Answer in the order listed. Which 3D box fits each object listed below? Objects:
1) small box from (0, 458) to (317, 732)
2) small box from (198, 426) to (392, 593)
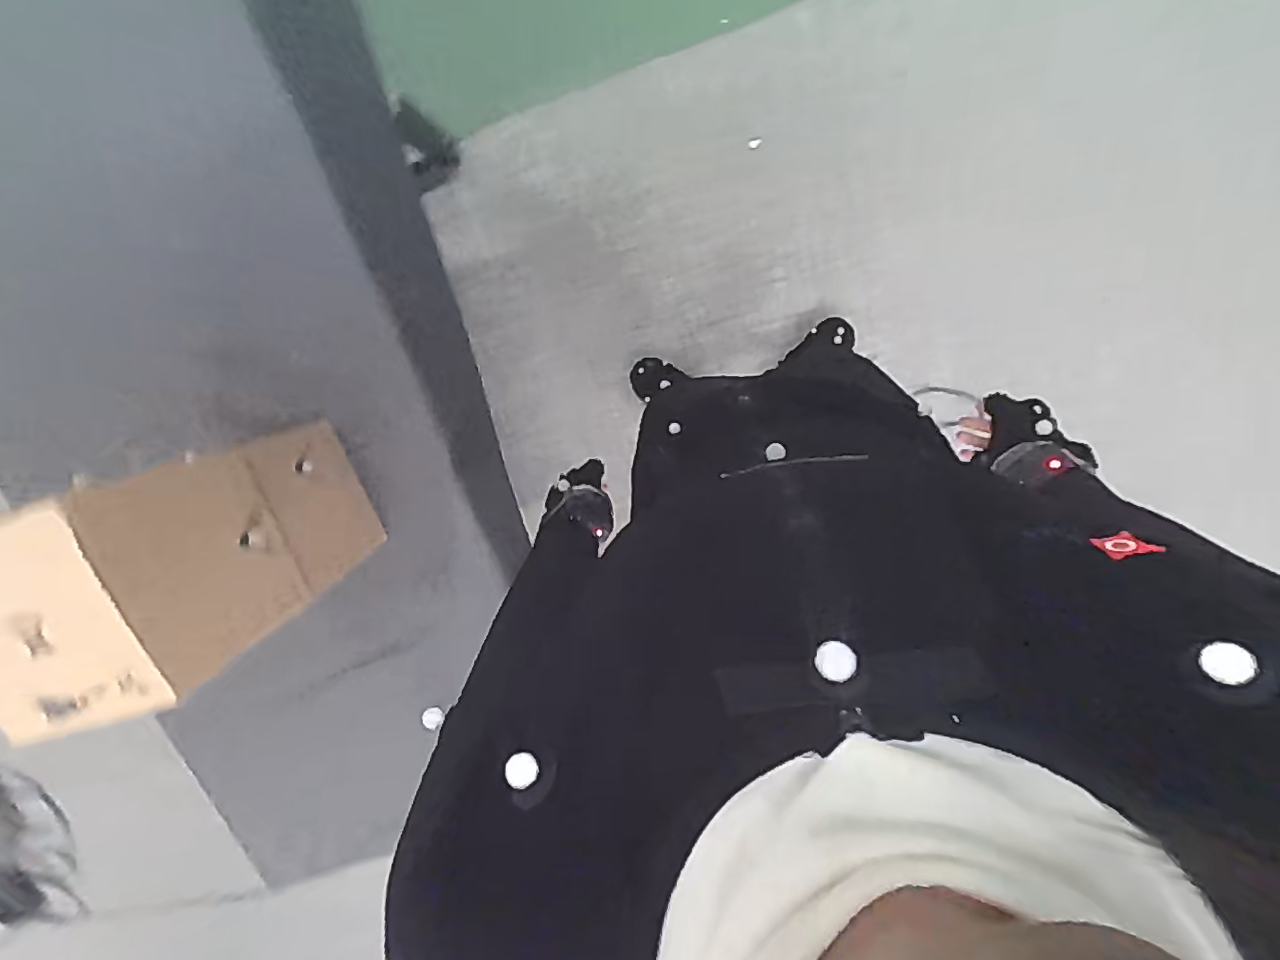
[{"bbox_3d":[-0.450,0.088,0.497,0.168,0.176,0.179,-16,104,9],"label":"small box"},{"bbox_3d":[-0.443,0.044,0.655,0.168,0.176,0.179,-19,106,9],"label":"small box"}]
